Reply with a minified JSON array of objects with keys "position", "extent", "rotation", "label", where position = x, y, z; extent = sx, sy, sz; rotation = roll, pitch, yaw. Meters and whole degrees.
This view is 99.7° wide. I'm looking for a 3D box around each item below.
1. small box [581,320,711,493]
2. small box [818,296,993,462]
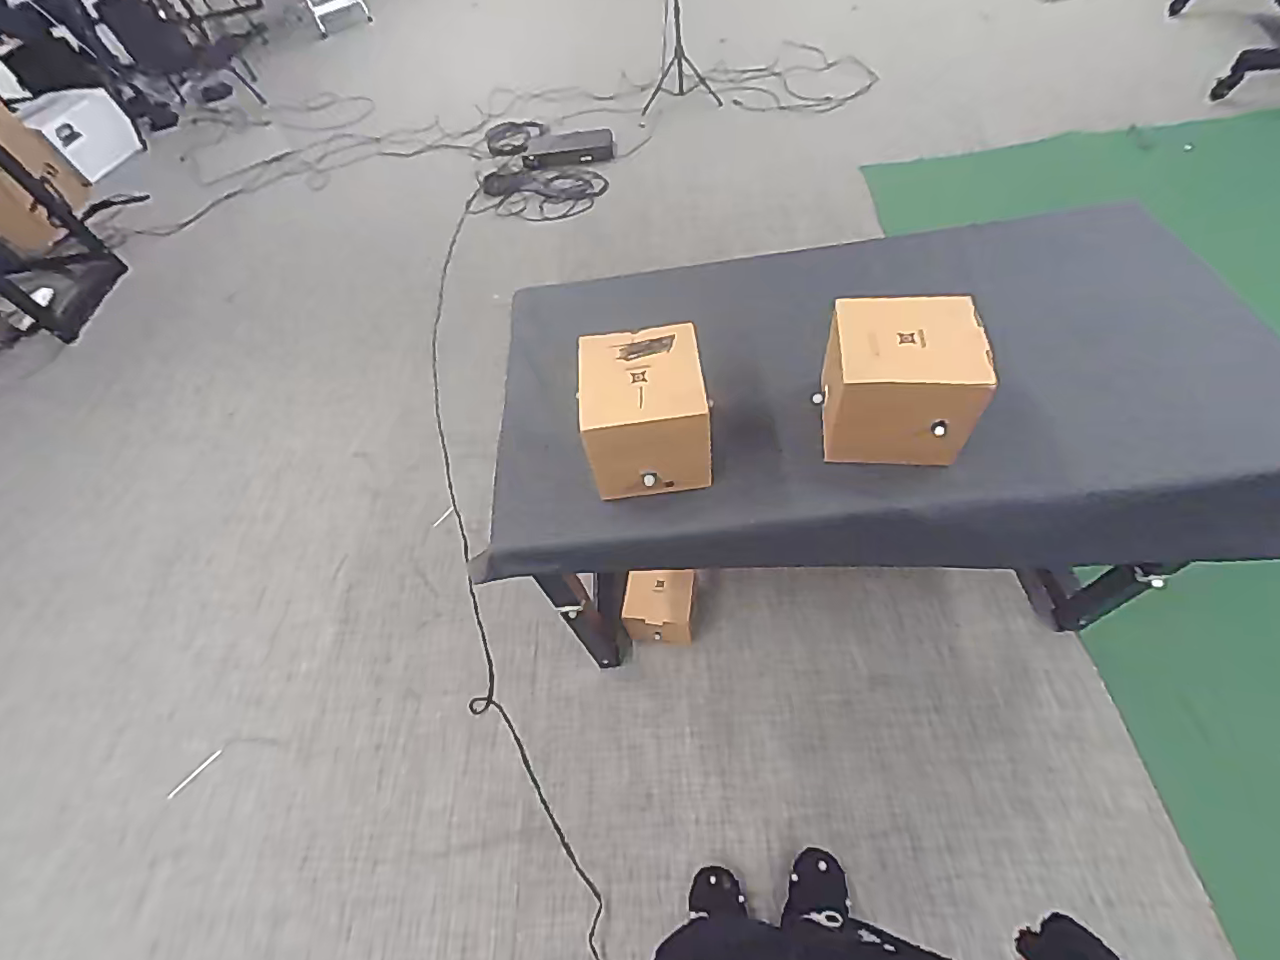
[{"position":[0.011,-0.103,0.789],"extent":[0.168,0.176,0.179],"rotation":[-7,55,3],"label":"small box"},{"position":[0.358,-0.138,0.768],"extent":[0.179,0.176,0.168],"rotation":[2,55,11],"label":"small box"}]
